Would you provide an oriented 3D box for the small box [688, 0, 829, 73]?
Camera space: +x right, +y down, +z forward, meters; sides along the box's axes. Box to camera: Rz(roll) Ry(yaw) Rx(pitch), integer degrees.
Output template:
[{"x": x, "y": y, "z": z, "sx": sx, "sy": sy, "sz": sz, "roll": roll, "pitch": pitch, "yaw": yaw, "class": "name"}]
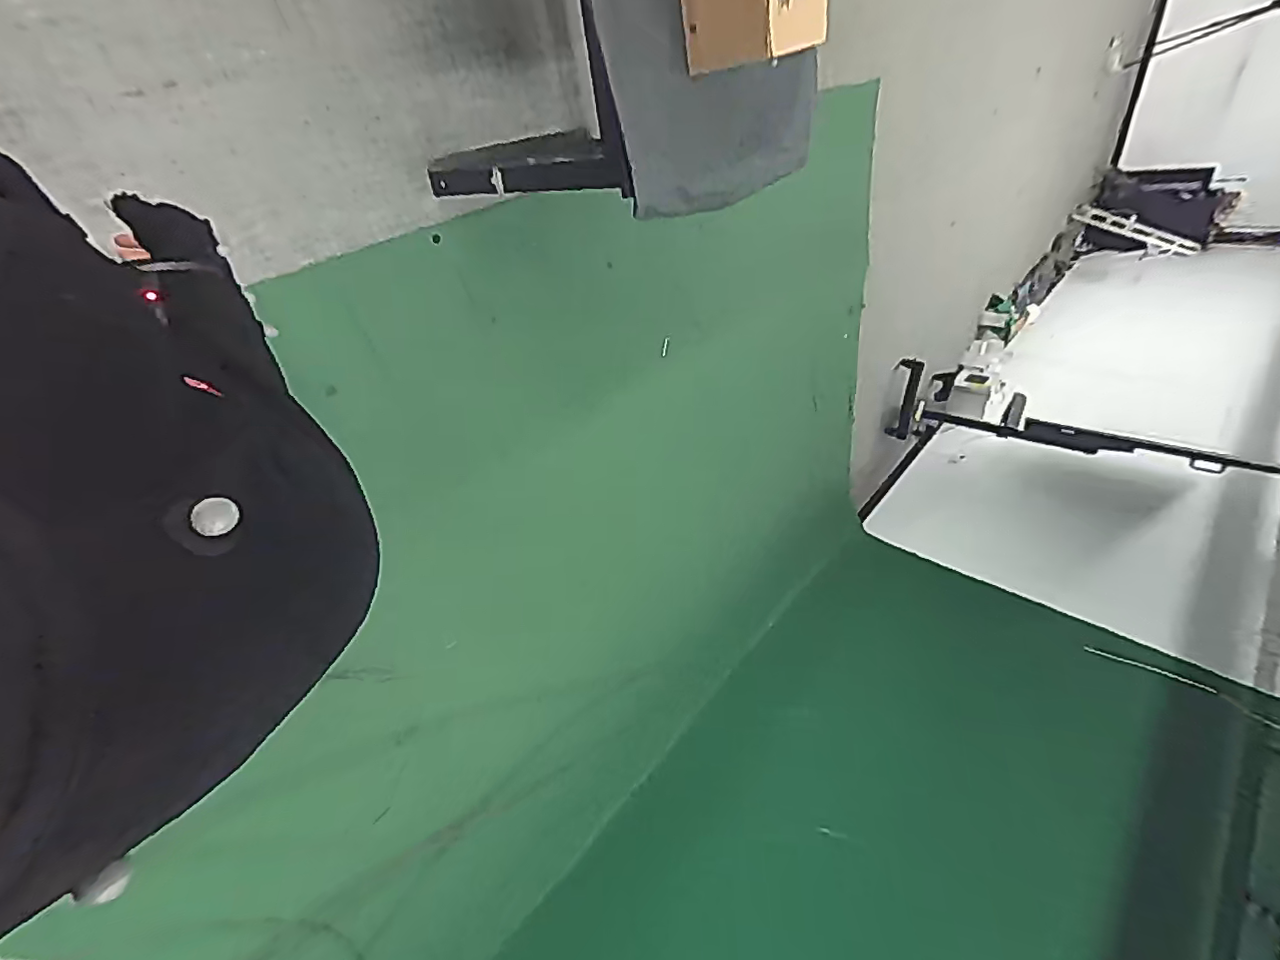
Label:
[{"x": 0.189, "y": -0.786, "z": 0.880, "sx": 0.179, "sy": 0.176, "sz": 0.168, "roll": -39, "pitch": 135, "yaw": -30, "class": "small box"}]
